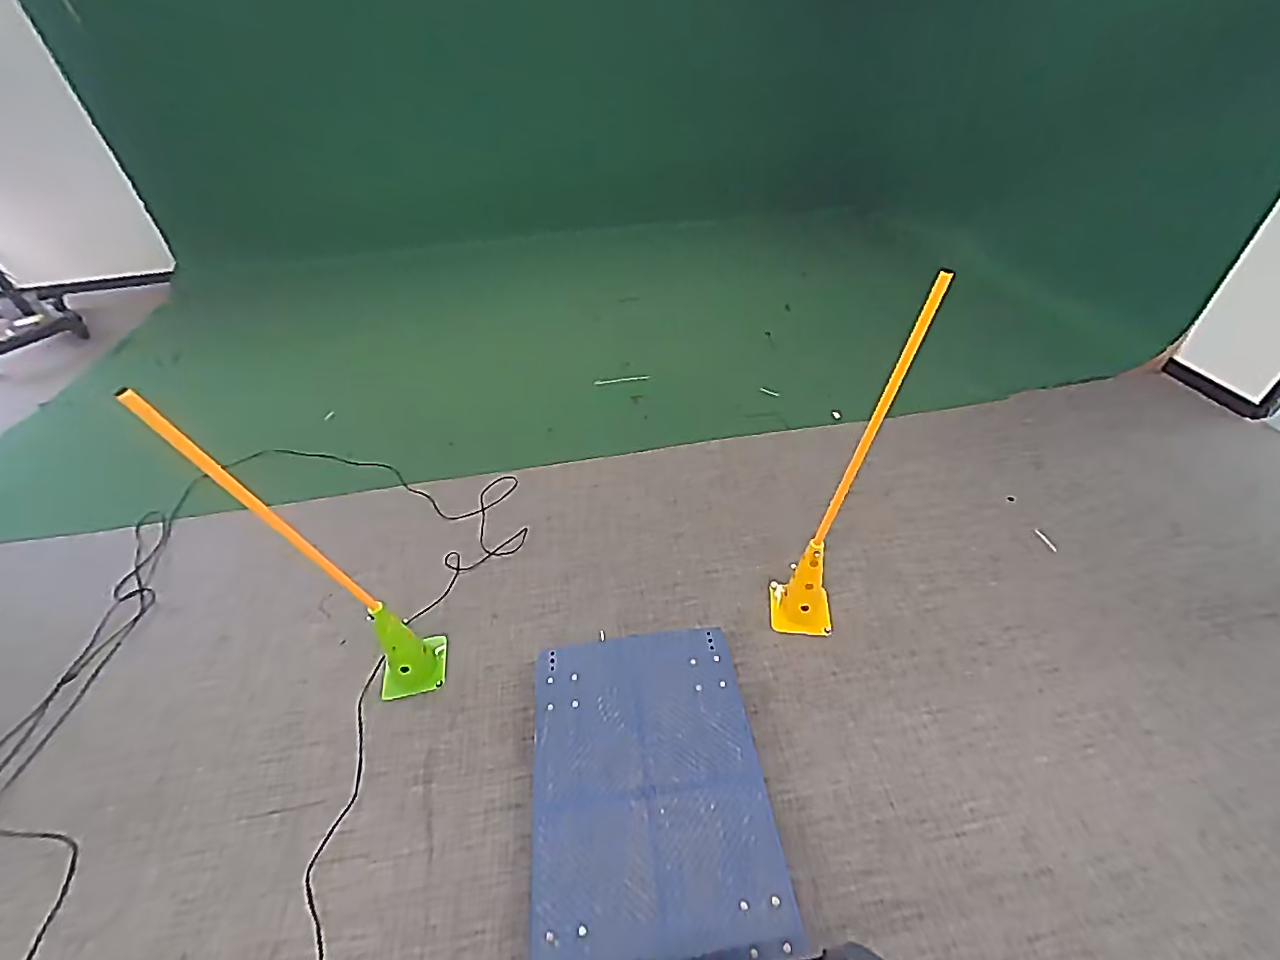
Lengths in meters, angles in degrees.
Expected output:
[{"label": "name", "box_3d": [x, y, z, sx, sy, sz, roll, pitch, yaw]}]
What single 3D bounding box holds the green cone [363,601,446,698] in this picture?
[{"label": "green cone", "box_3d": [-0.768, 0.494, 1.698, 0.202, 0.368, 0.200, -12, 43, -7]}]
